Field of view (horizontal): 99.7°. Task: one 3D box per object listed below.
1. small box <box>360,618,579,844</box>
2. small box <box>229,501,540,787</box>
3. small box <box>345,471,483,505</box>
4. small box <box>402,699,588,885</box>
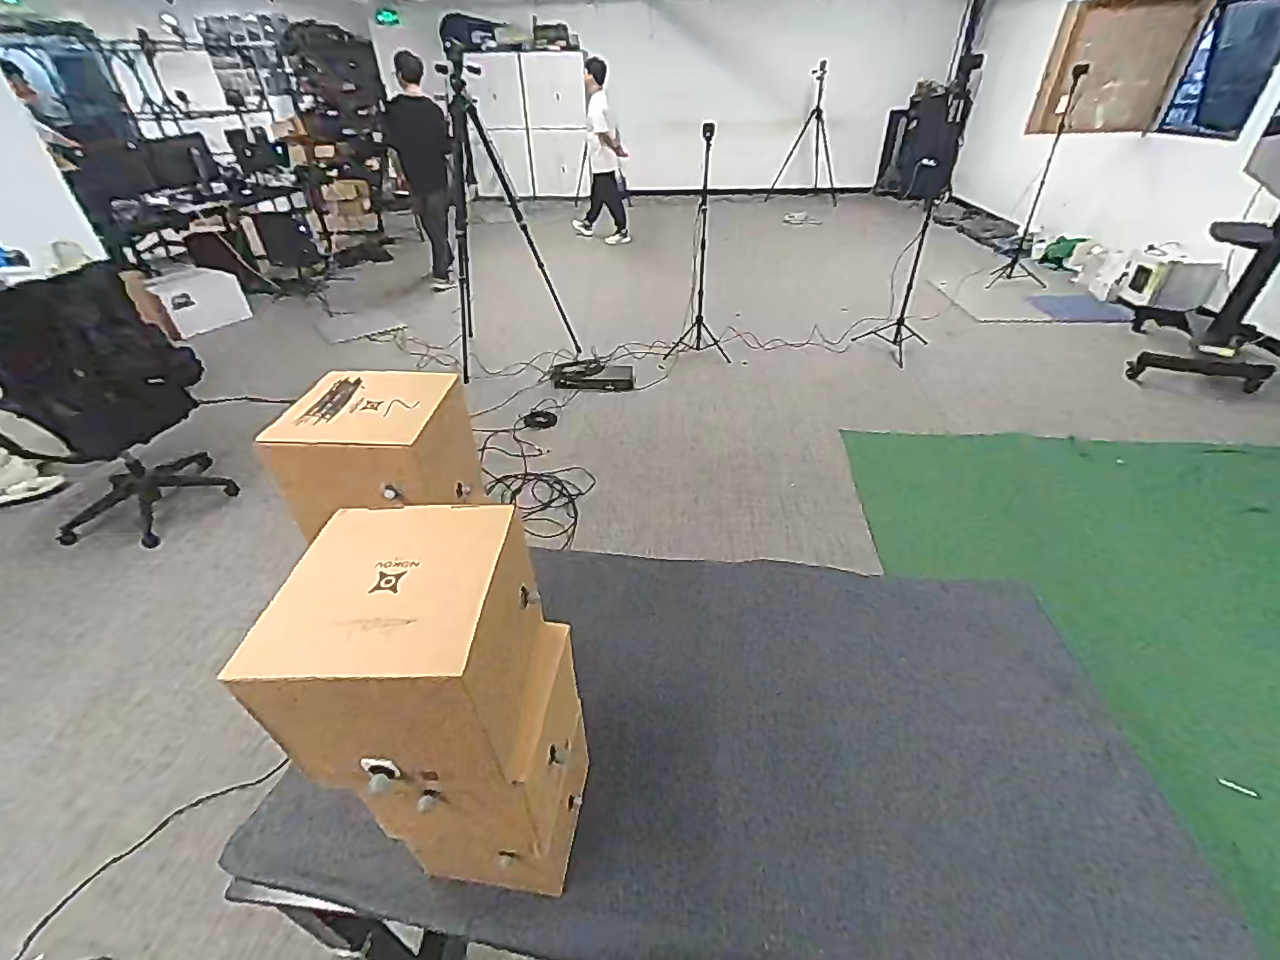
[{"bbox_3d":[-0.168,0.260,0.575,0.179,0.176,0.168,3,38,7],"label":"small box"},{"bbox_3d":[-0.189,0.138,0.469,0.168,0.176,0.179,-2,38,2],"label":"small box"},{"bbox_3d":[-0.320,0.104,0.787,0.179,0.176,0.168,0,38,3],"label":"small box"},{"bbox_3d":[-0.170,0.381,0.684,0.179,0.176,0.168,4,37,8],"label":"small box"}]
